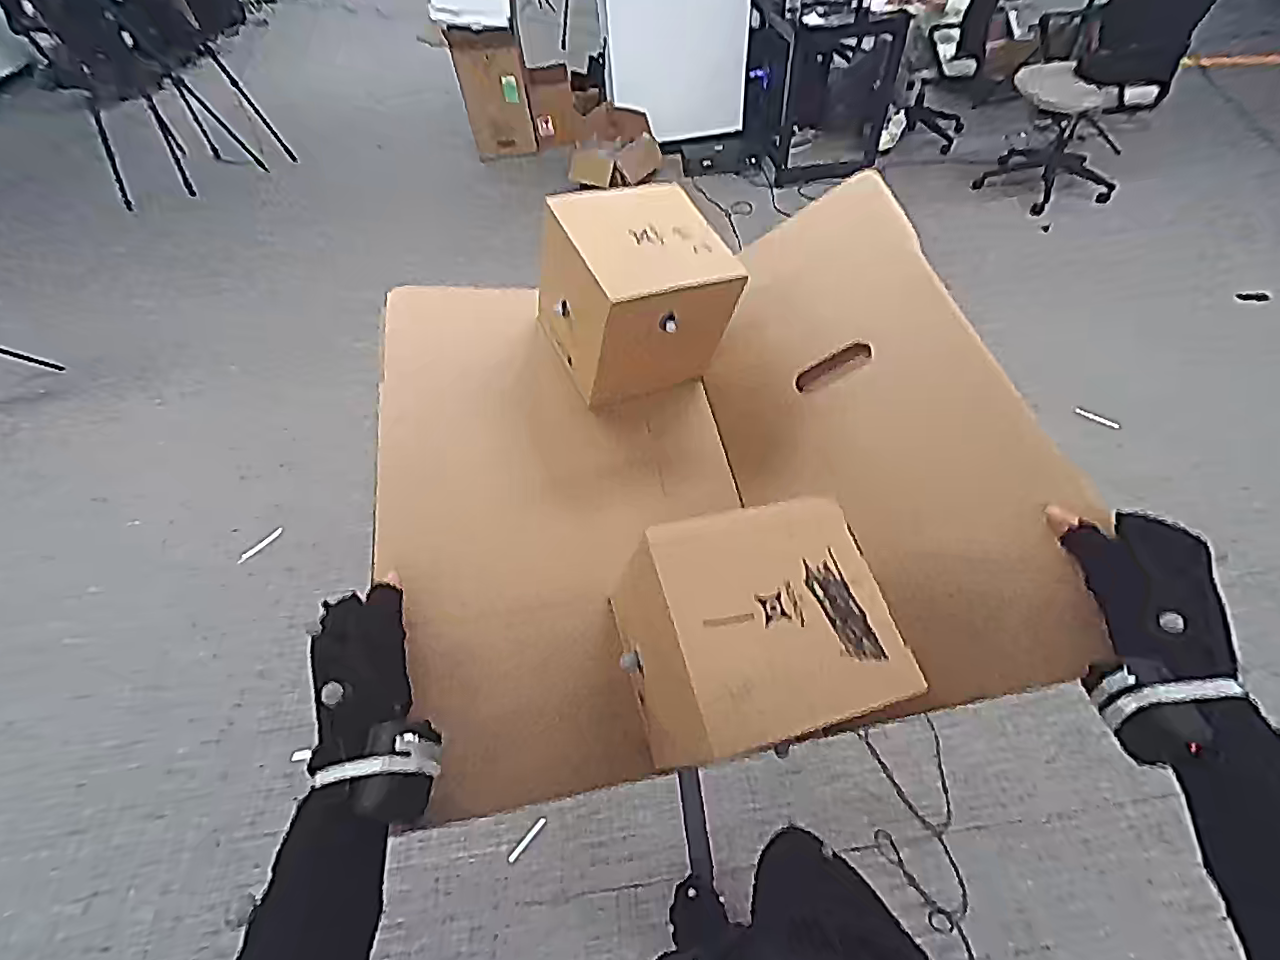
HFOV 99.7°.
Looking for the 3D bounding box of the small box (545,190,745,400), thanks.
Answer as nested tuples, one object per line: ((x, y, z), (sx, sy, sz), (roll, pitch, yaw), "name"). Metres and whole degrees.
((-0.008, -0.220, 0.659), (0.179, 0.176, 0.168), (-19, 66, -24), "small box")
